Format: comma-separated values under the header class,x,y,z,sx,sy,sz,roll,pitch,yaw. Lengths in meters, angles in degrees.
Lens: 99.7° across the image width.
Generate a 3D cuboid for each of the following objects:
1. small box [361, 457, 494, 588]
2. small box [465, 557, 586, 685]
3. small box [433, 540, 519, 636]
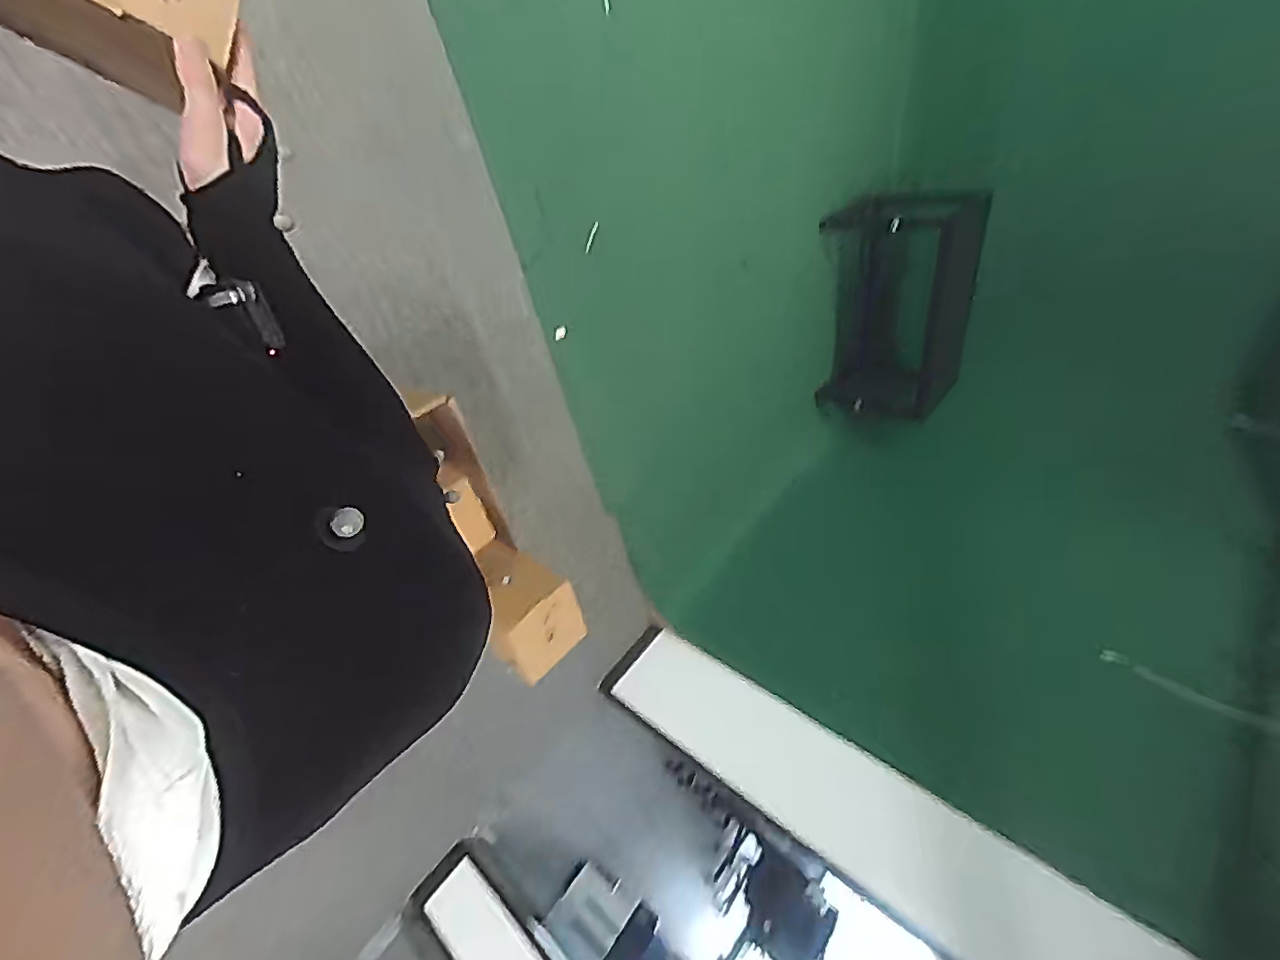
class,x,y,z,sx,sy,sz,roll,pitch,yaw
small box,-0.440,0.080,1.110,0.179,0.176,0.168,-41,137,-30
small box,-0.248,0.298,1.175,0.168,0.176,0.179,-38,132,-32
small box,-0.363,0.261,1.289,0.168,0.176,0.179,-43,135,-26
